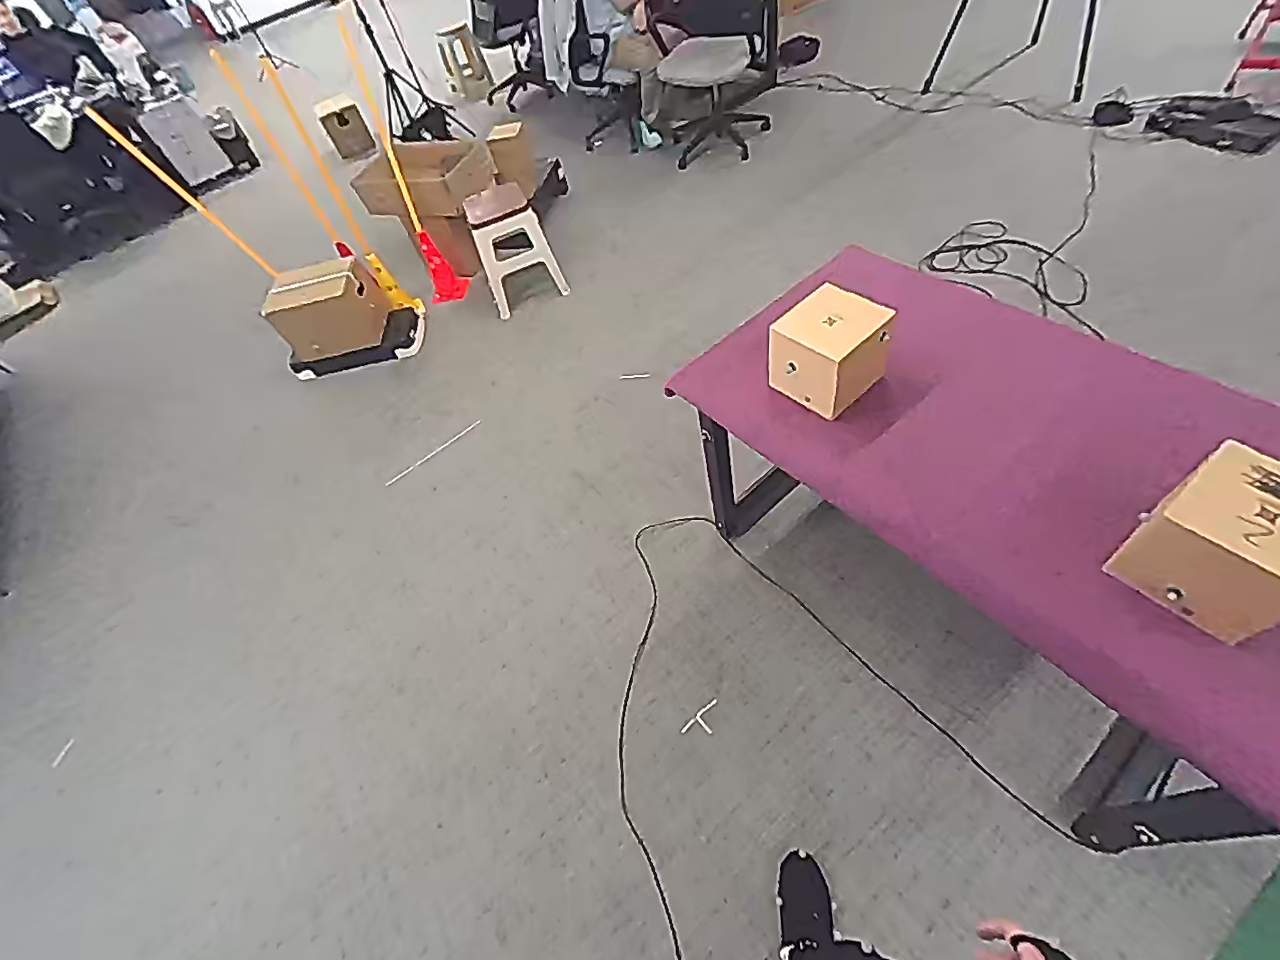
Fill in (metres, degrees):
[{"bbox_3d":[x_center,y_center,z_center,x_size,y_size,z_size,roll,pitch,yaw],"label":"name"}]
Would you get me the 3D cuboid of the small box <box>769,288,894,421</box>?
[{"bbox_3d":[0.384,-0.253,1.108,0.179,0.176,0.168,-39,55,-17],"label":"small box"}]
